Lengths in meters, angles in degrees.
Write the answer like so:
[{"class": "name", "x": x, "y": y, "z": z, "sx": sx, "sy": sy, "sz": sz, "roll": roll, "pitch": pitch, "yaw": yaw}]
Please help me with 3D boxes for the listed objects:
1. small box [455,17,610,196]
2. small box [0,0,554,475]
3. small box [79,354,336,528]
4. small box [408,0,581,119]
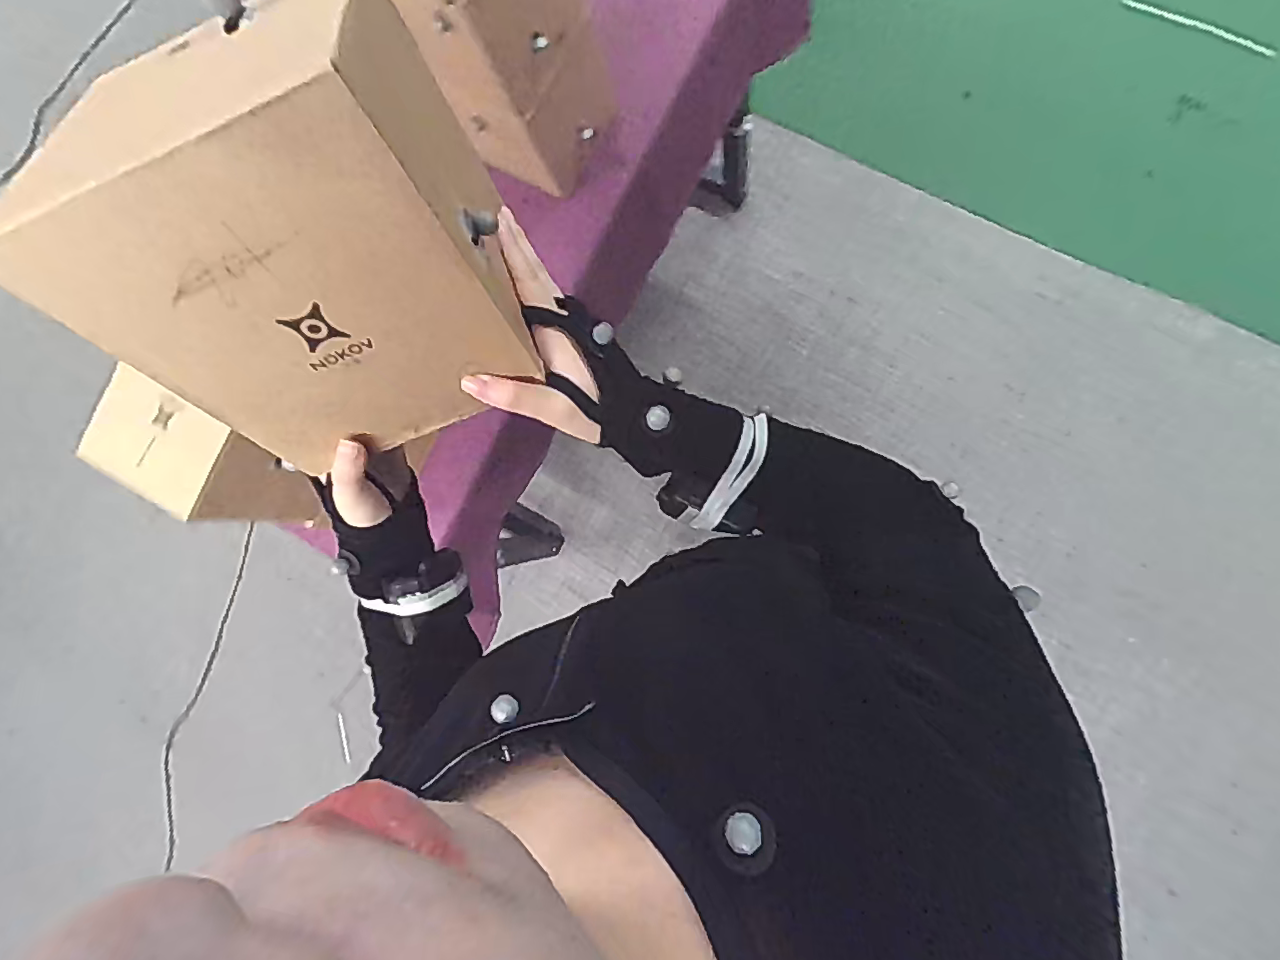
[{"class": "small box", "x": -0.168, "y": -0.552, "z": 0.780, "sx": 0.179, "sy": 0.176, "sz": 0.168, "roll": 31, "pitch": 92, "yaw": 10}, {"class": "small box", "x": -0.164, "y": -0.134, "z": 0.308, "sx": 0.168, "sy": 0.179, "sz": 0.176, "roll": -19, "pitch": 57, "yaw": 7}, {"class": "small box", "x": -0.469, "y": -0.058, "z": 0.632, "sx": 0.168, "sy": 0.176, "sz": 0.179, "roll": 26, "pitch": 91, "yaw": 11}, {"class": "small box", "x": -0.195, "y": -0.565, "z": 0.620, "sx": 0.179, "sy": 0.176, "sz": 0.168, "roll": 31, "pitch": 92, "yaw": 10}]
